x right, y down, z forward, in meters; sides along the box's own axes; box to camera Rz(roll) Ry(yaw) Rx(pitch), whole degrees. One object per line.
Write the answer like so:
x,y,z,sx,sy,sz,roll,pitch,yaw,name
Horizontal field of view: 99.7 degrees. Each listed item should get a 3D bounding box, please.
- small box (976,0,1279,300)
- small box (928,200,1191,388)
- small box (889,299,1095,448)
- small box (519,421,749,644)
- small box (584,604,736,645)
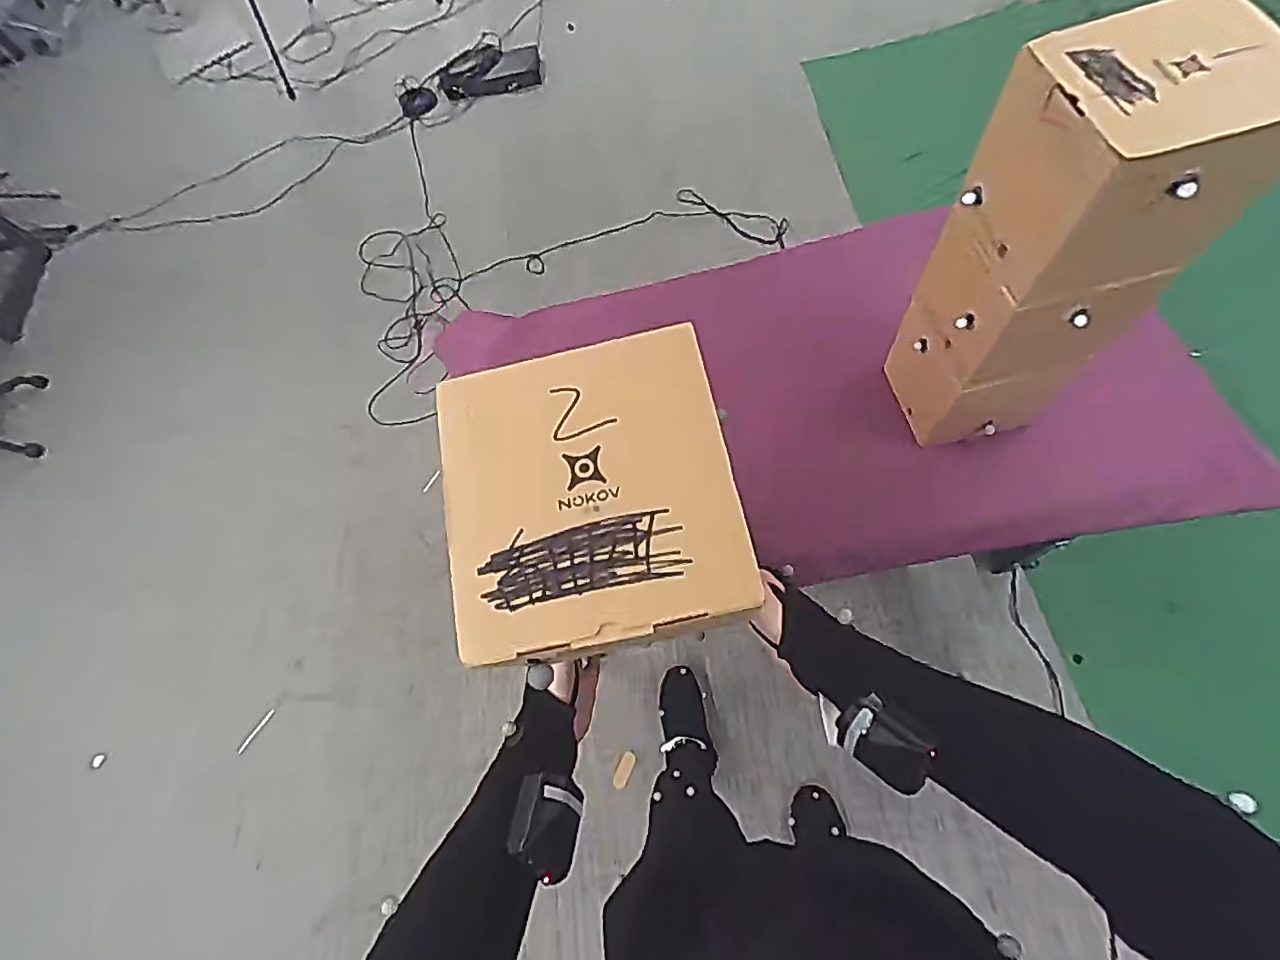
0.454,-0.300,0.513,0.179,0.176,0.168,-13,67,5,small box
0.479,-0.234,0.661,0.179,0.176,0.168,-12,66,5,small box
0.505,-0.169,0.809,0.179,0.176,0.168,-13,65,4,small box
-0.003,0.063,0.544,0.179,0.176,0.168,-14,72,3,small box
0.014,0.112,0.697,0.179,0.176,0.168,-14,71,2,small box
